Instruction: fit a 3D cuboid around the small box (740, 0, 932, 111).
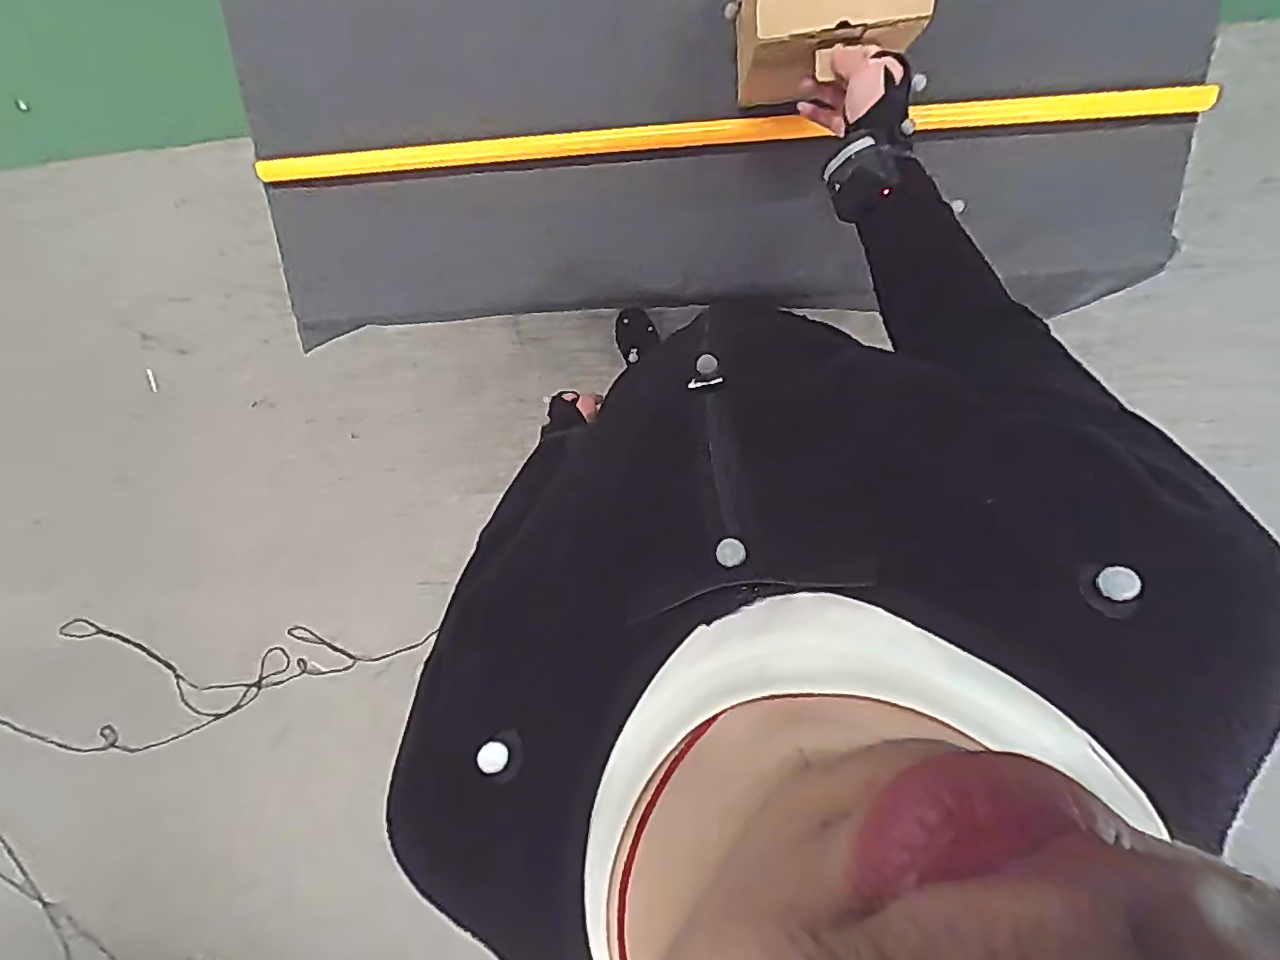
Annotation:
[{"bbox_3d":[0.198,-0.529,0.583,0.168,0.176,0.179,-6,105,8],"label":"small box"}]
